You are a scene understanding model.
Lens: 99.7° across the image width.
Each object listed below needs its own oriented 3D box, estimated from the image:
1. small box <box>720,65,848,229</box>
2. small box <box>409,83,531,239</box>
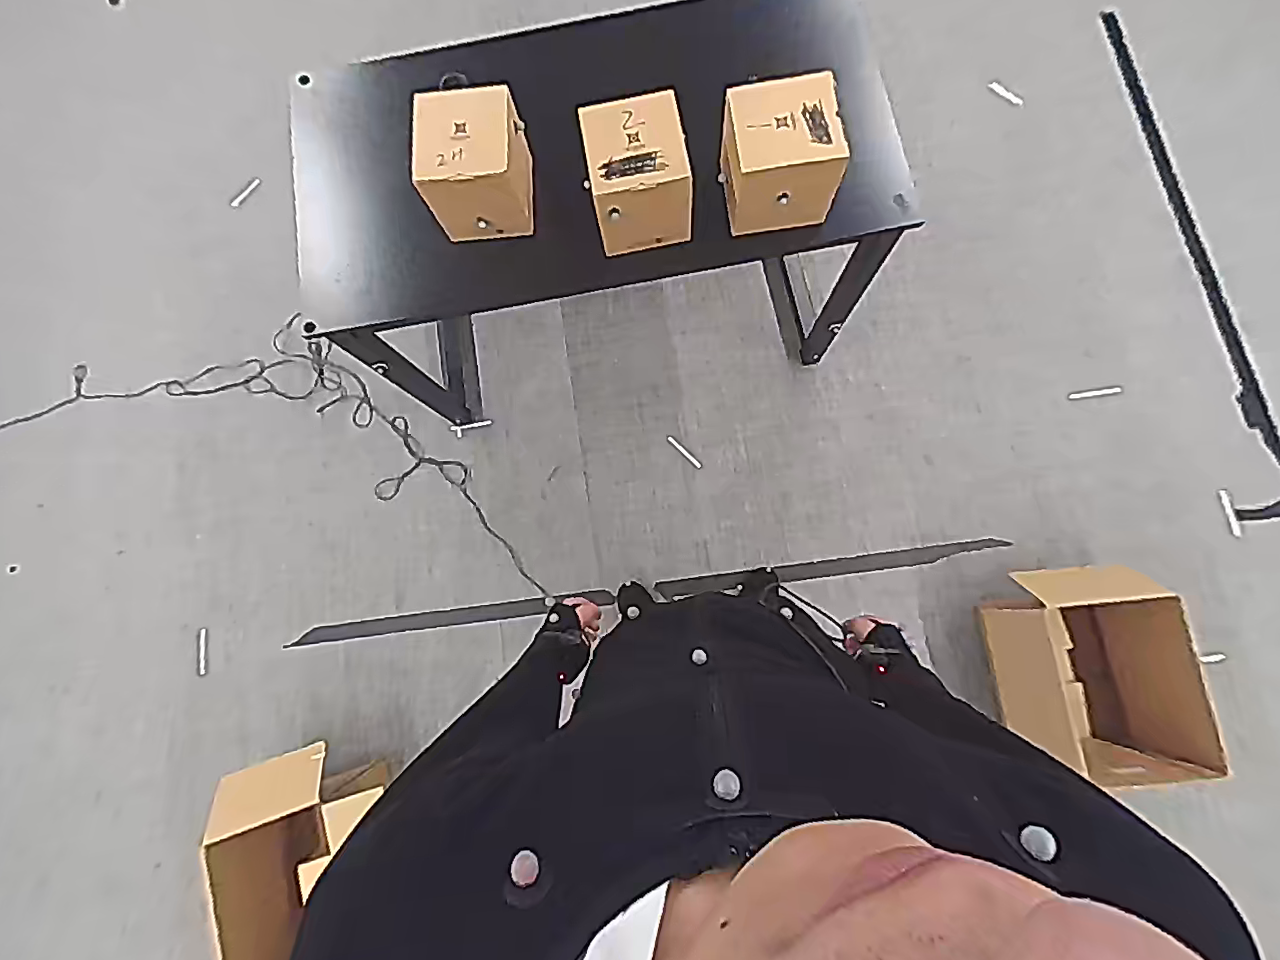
[{"bbox_3d":[0.241,-0.573,0.949,0.179,0.176,0.168,-8,79,4],"label":"small box"},{"bbox_3d":[-0.301,-0.574,0.987,0.168,0.176,0.179,-4,80,4],"label":"small box"}]
